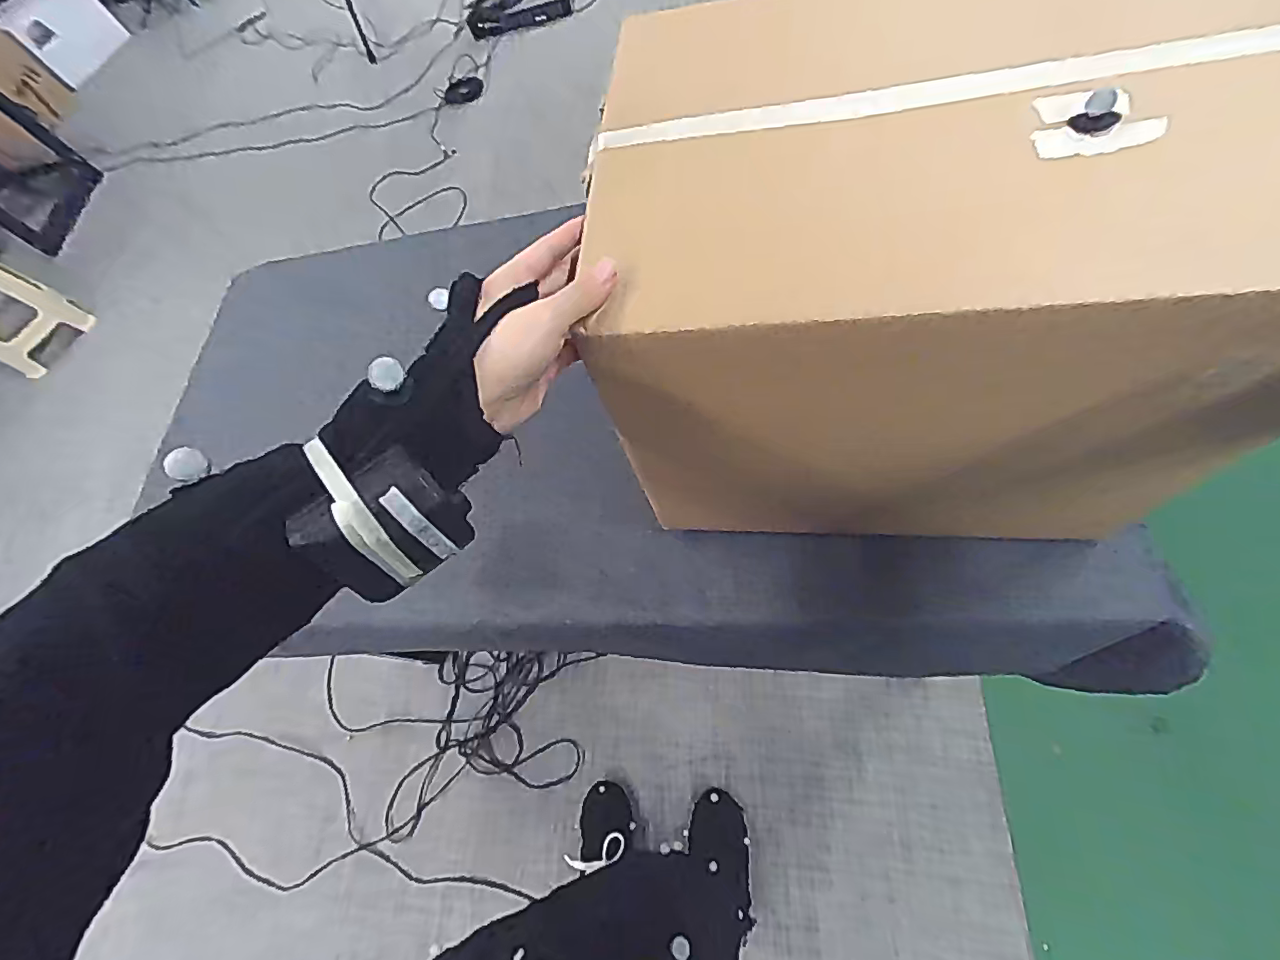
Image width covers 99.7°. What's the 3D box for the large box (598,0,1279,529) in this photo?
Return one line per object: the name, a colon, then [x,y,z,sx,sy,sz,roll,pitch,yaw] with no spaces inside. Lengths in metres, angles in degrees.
large box: [0.205,-0.154,0.455,0.408,0.320,0.320,0,65,12]
